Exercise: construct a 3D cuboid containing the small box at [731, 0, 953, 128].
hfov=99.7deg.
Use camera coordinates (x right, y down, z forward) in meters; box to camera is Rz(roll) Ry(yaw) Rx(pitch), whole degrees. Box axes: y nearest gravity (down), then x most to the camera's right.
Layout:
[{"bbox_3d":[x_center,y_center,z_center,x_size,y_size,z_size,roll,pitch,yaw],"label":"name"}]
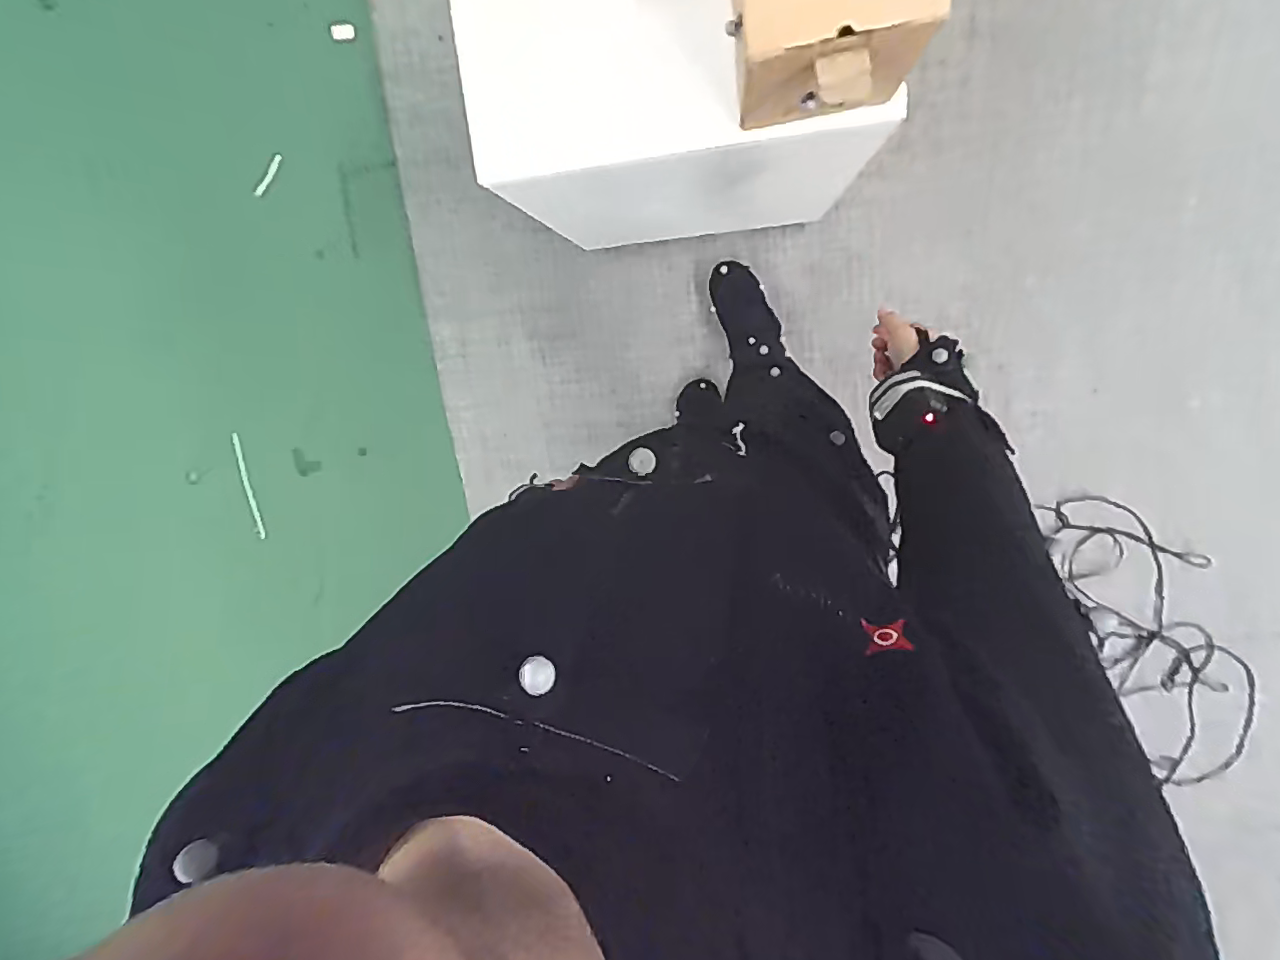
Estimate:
[{"bbox_3d":[0.174,-0.472,0.510,0.168,0.176,0.179,-5,104,10],"label":"small box"}]
